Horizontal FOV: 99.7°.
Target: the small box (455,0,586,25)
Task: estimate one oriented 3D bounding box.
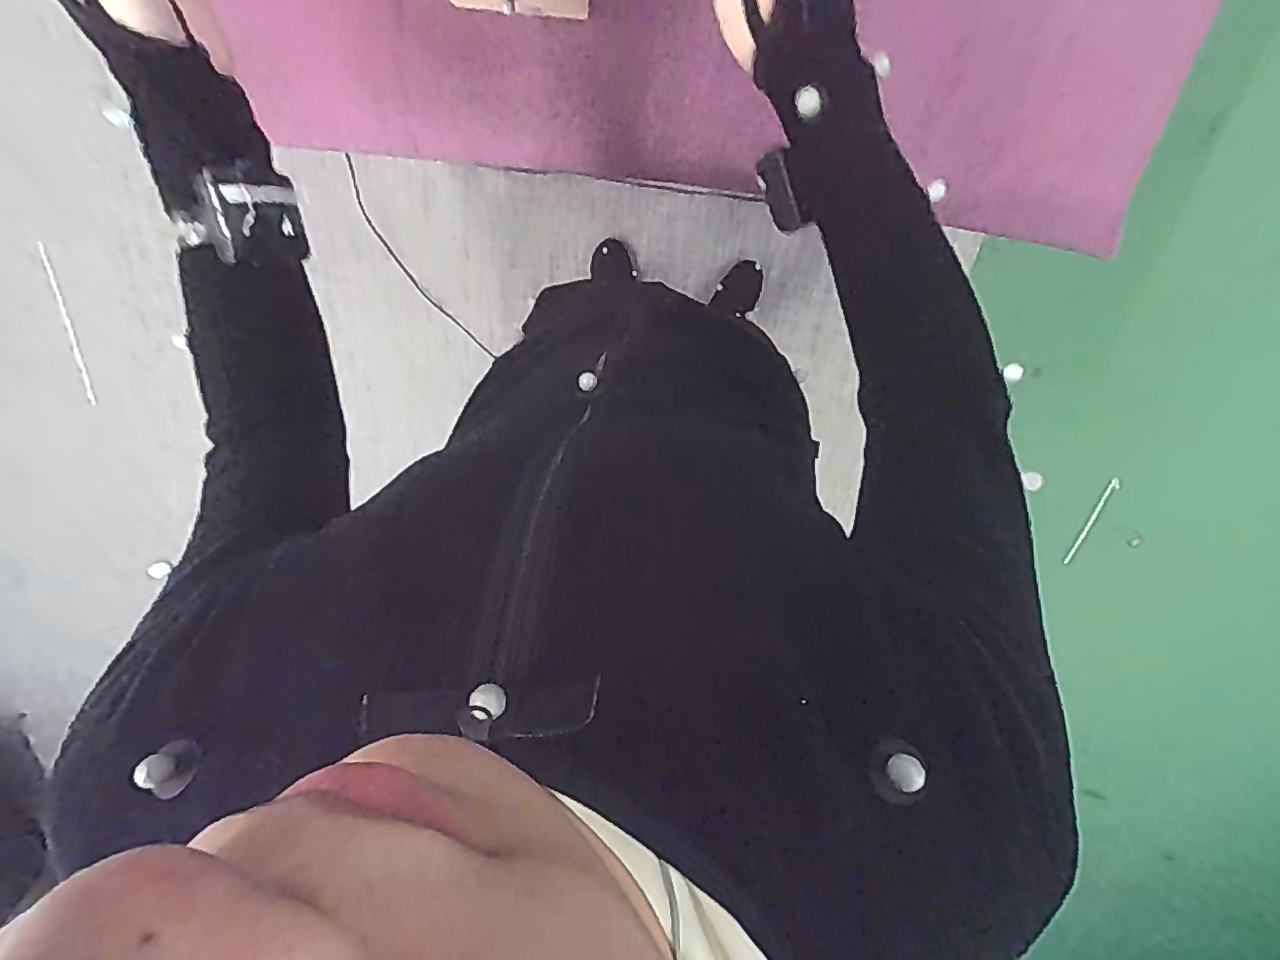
[{"bbox_3d":[-0.143,-0.606,0.548,0.168,0.176,0.179,6,116,0],"label":"small box"}]
